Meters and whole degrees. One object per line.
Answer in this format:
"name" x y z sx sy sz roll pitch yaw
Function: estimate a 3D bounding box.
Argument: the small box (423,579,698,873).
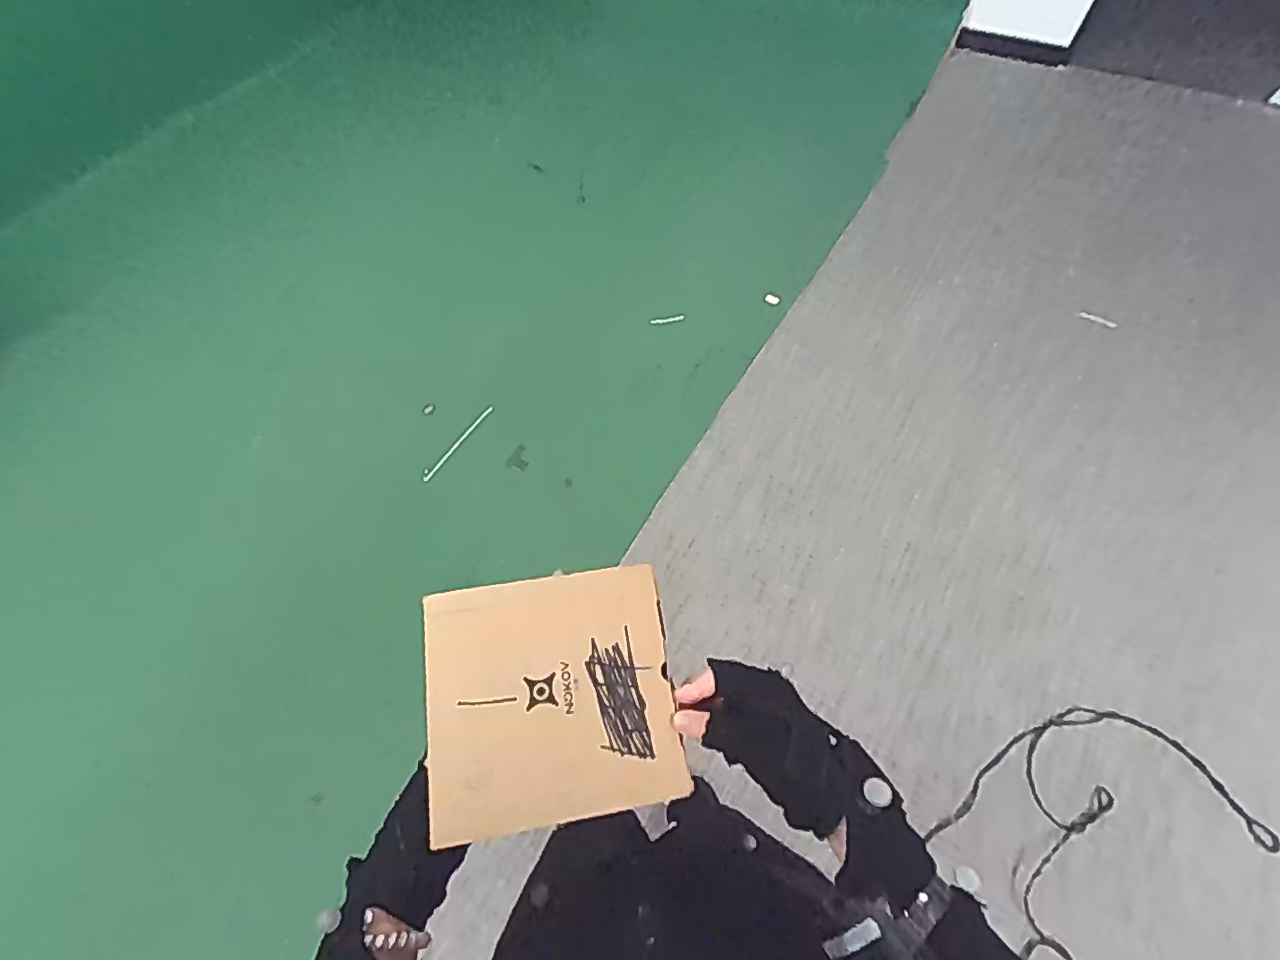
"small box" -0.066 0.187 0.447 0.179 0.176 0.168 -7 70 -9
